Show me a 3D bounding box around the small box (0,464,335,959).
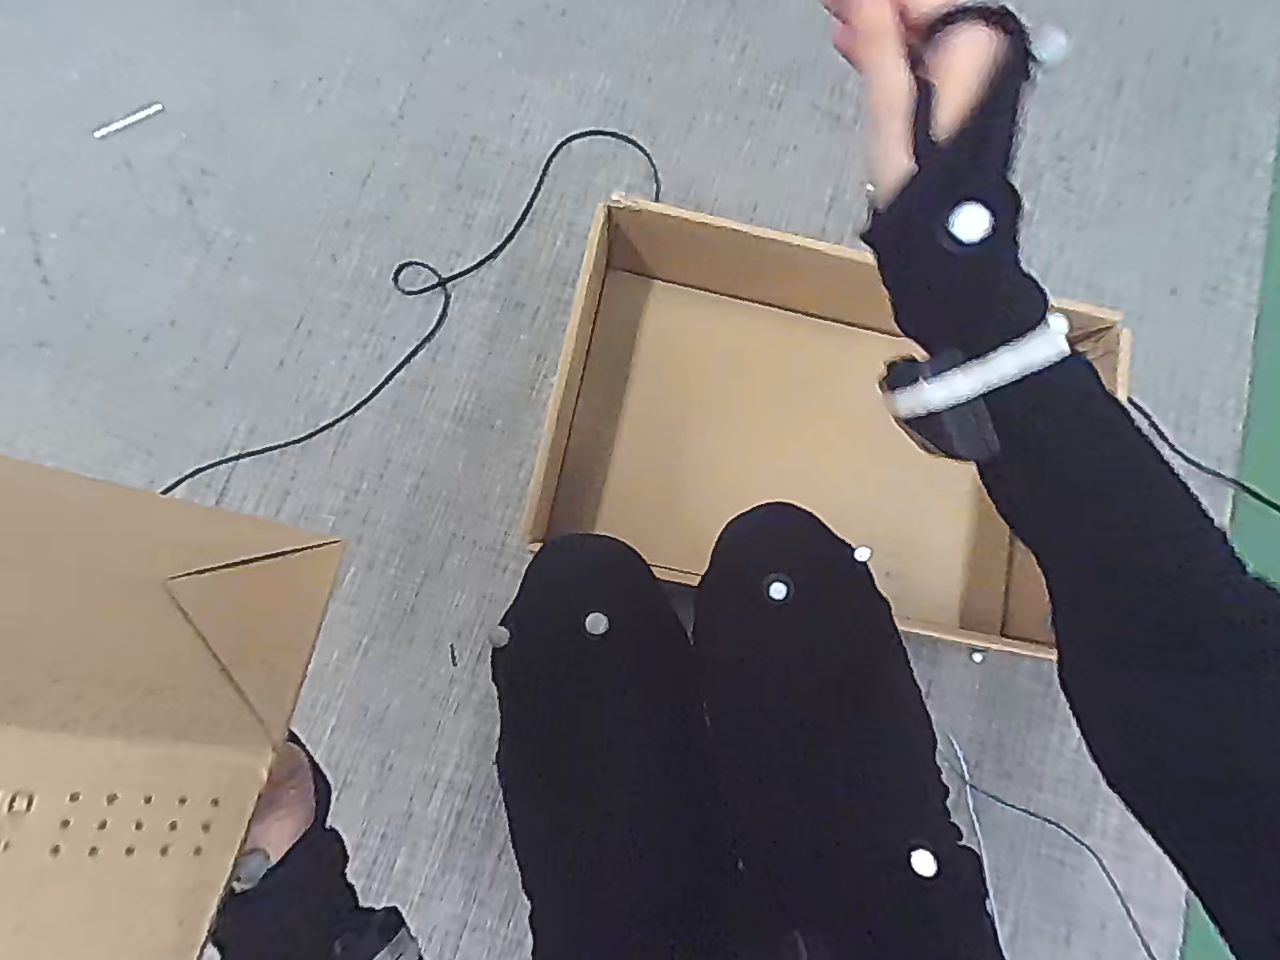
[{"bbox_3d":[-0.215,0.091,0.169,0.168,0.179,0.176,20,92,-26],"label":"small box"}]
